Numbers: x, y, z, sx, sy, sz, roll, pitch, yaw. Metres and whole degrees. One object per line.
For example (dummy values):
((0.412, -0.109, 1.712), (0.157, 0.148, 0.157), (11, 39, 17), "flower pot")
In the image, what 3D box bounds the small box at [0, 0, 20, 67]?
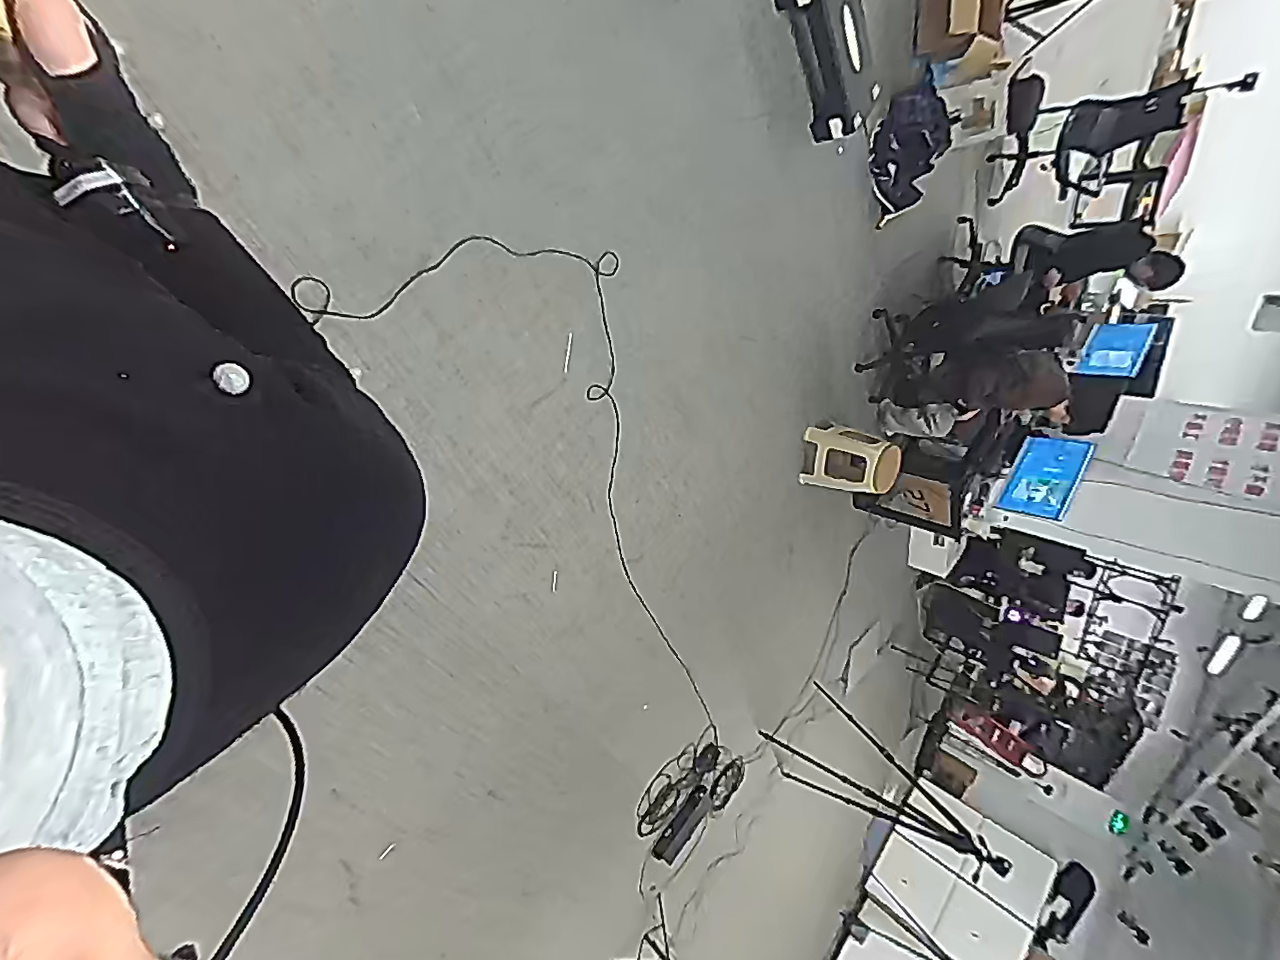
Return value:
((-0.443, -0.319, 0.253), (0.179, 0.176, 0.168), (-16, 120, -43), "small box")
